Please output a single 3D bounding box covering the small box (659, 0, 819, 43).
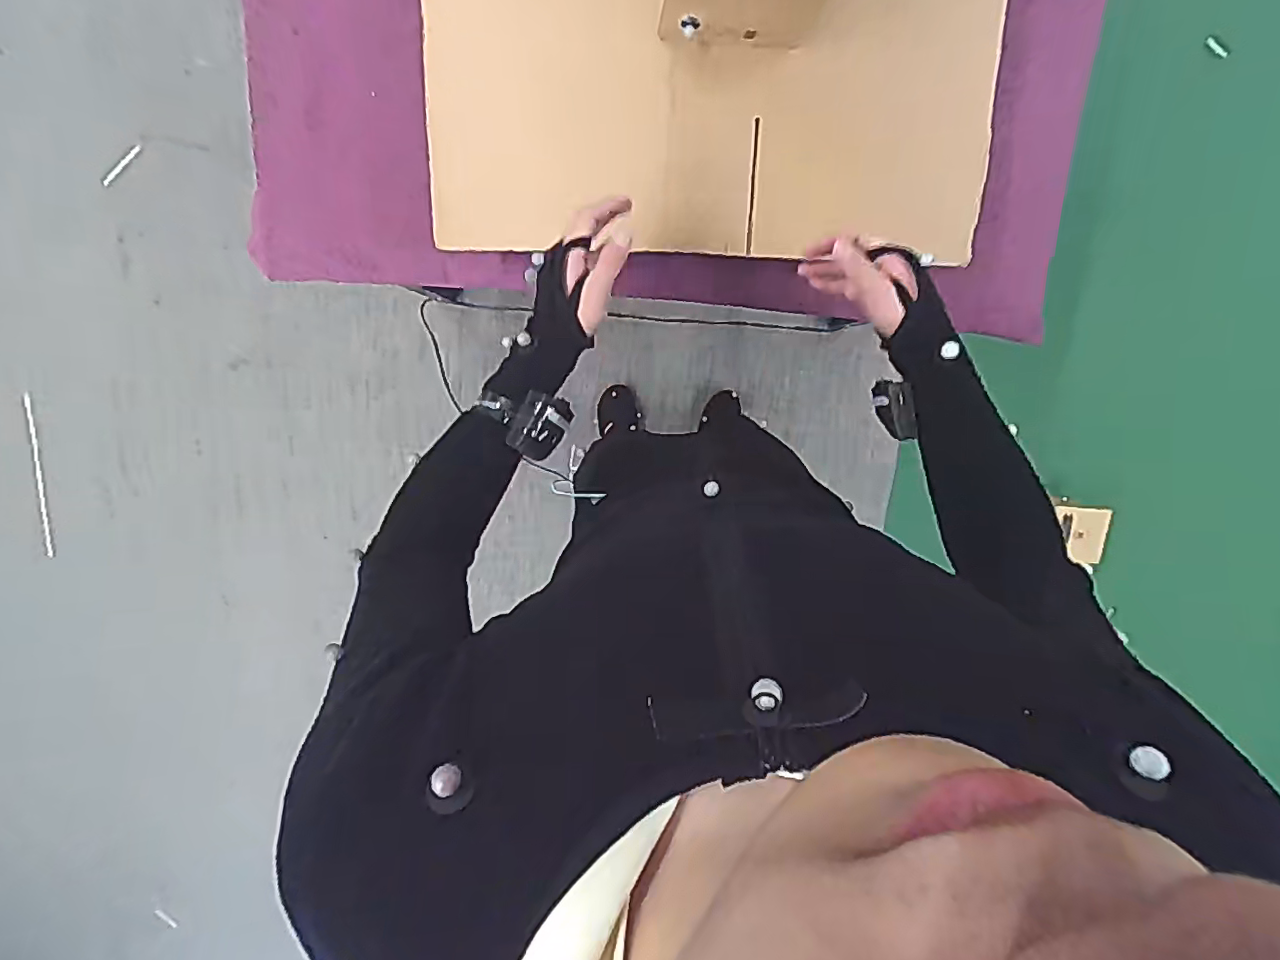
[{"bbox_3d":[0.110,-0.566,0.519,0.168,0.176,0.179,0,101,-6],"label":"small box"}]
